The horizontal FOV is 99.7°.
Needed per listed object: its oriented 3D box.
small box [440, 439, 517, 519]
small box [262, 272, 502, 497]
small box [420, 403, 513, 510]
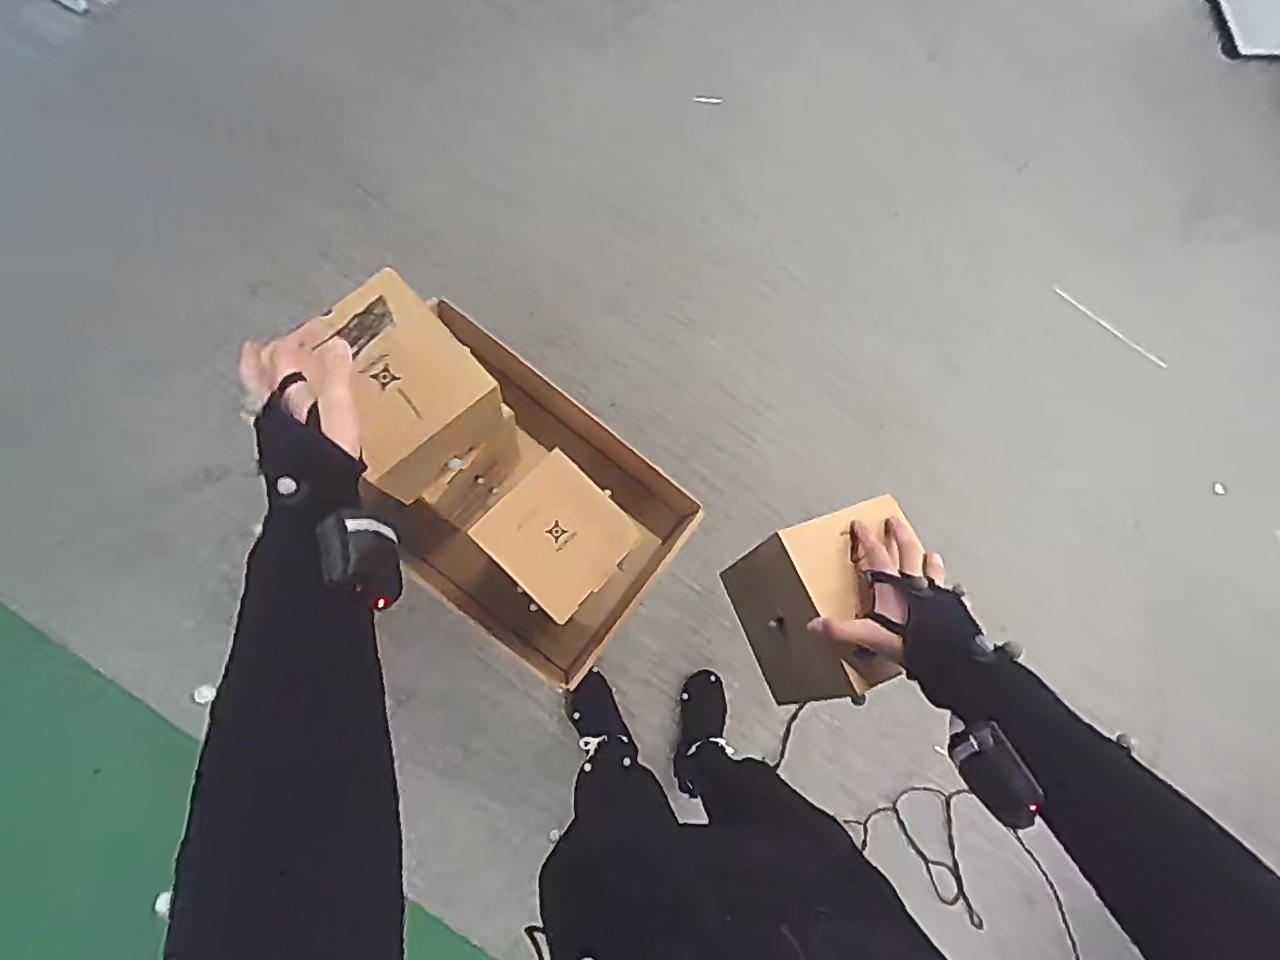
[{"bbox_3d":[-0.339,-0.045,0.958,0.179,0.176,0.168,39,76,-2],"label":"small box"},{"bbox_3d":[-0.284,-0.098,0.641,0.168,0.176,0.179,-42,91,-14],"label":"small box"},{"bbox_3d":[-0.308,-0.071,0.801,0.179,0.176,0.168,39,75,-3],"label":"small box"}]
